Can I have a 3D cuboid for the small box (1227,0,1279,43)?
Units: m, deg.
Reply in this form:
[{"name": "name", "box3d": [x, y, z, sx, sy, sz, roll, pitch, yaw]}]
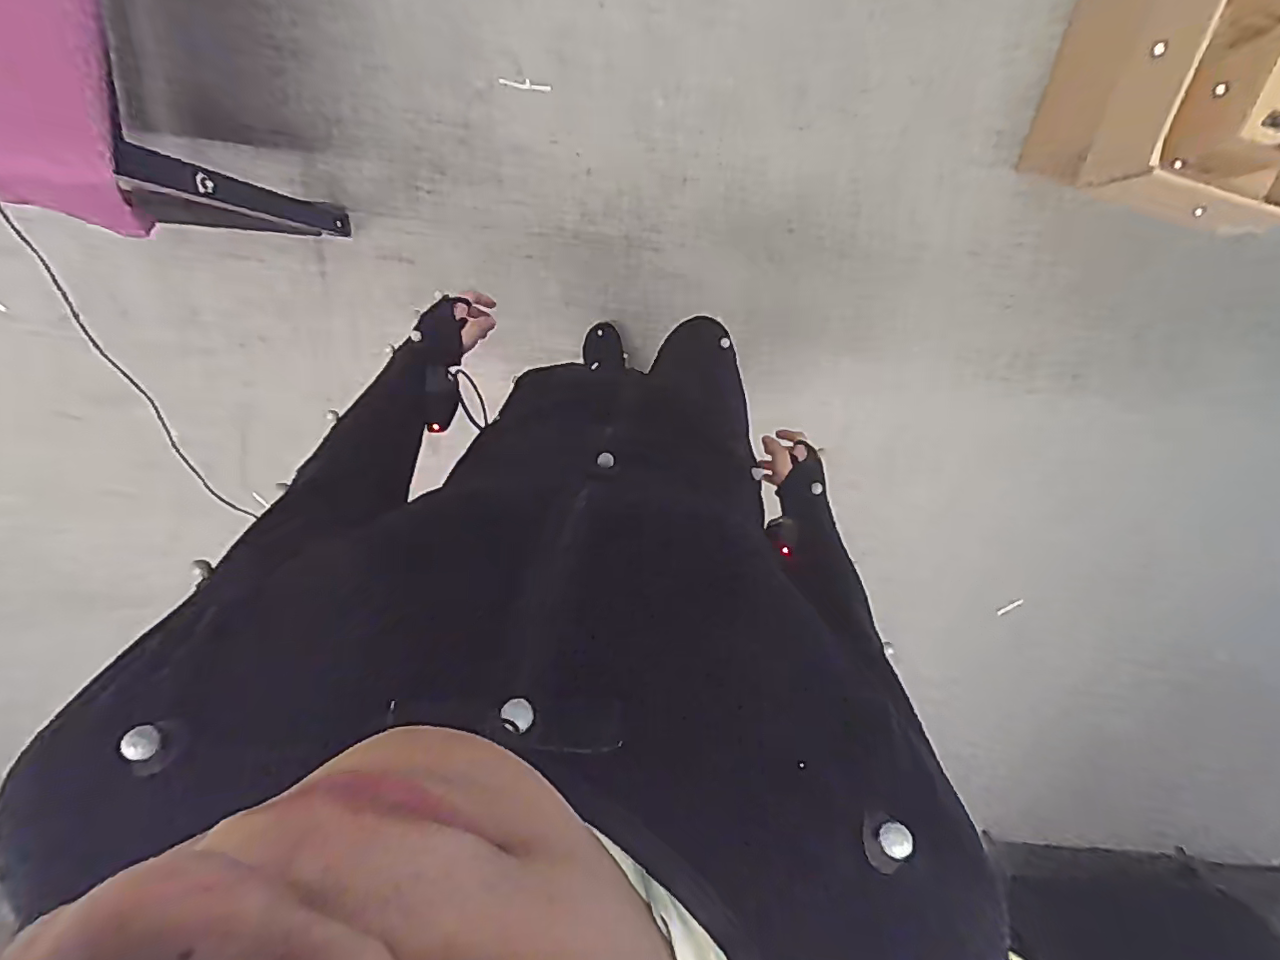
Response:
[{"name": "small box", "box3d": [1.231, -0.937, 0.961, 0.168, 0.176, 0.179, 13, 105, -6]}]
